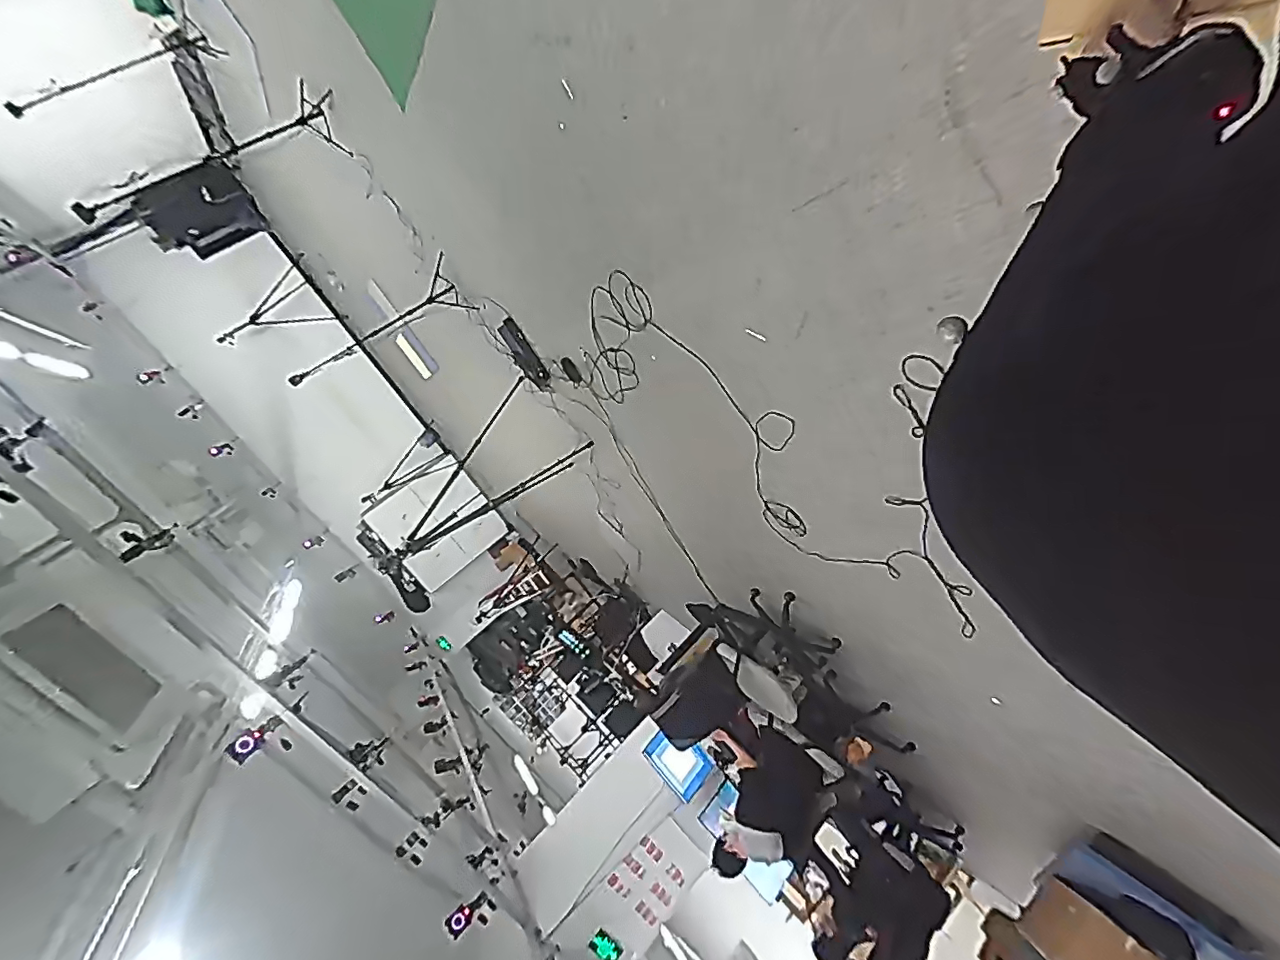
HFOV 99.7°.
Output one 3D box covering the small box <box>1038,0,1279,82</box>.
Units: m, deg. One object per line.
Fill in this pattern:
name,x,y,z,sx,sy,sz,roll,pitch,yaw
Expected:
small box,0.495,-0.489,0.486,0.168,0.179,0.176,23,124,40
